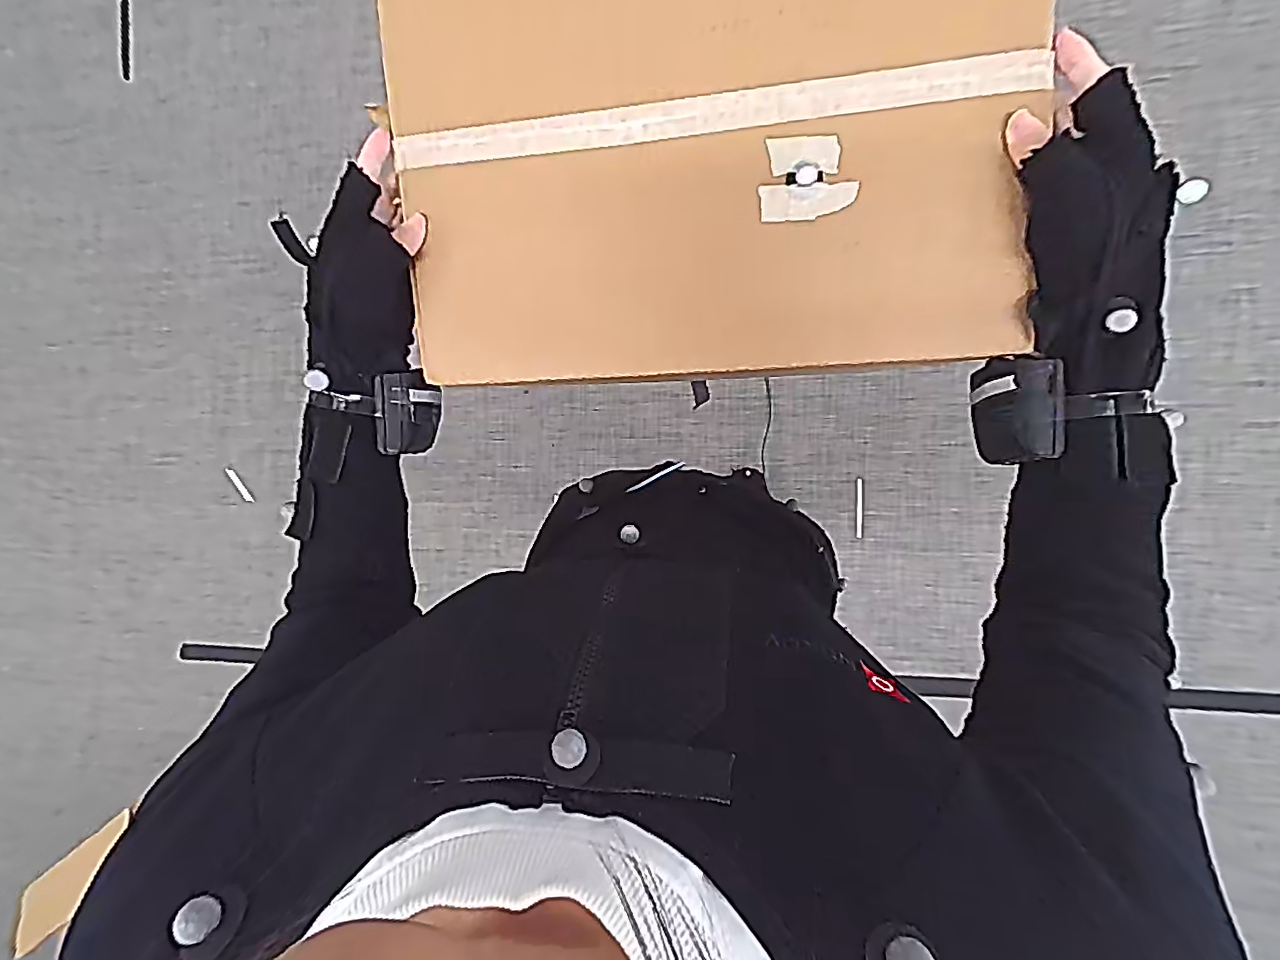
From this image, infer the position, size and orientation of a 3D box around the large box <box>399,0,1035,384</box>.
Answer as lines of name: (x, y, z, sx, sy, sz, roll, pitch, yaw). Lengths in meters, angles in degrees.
large box: (0.057, -0.259, 0.499, 0.408, 0.320, 0.320, -2, 100, 8)
